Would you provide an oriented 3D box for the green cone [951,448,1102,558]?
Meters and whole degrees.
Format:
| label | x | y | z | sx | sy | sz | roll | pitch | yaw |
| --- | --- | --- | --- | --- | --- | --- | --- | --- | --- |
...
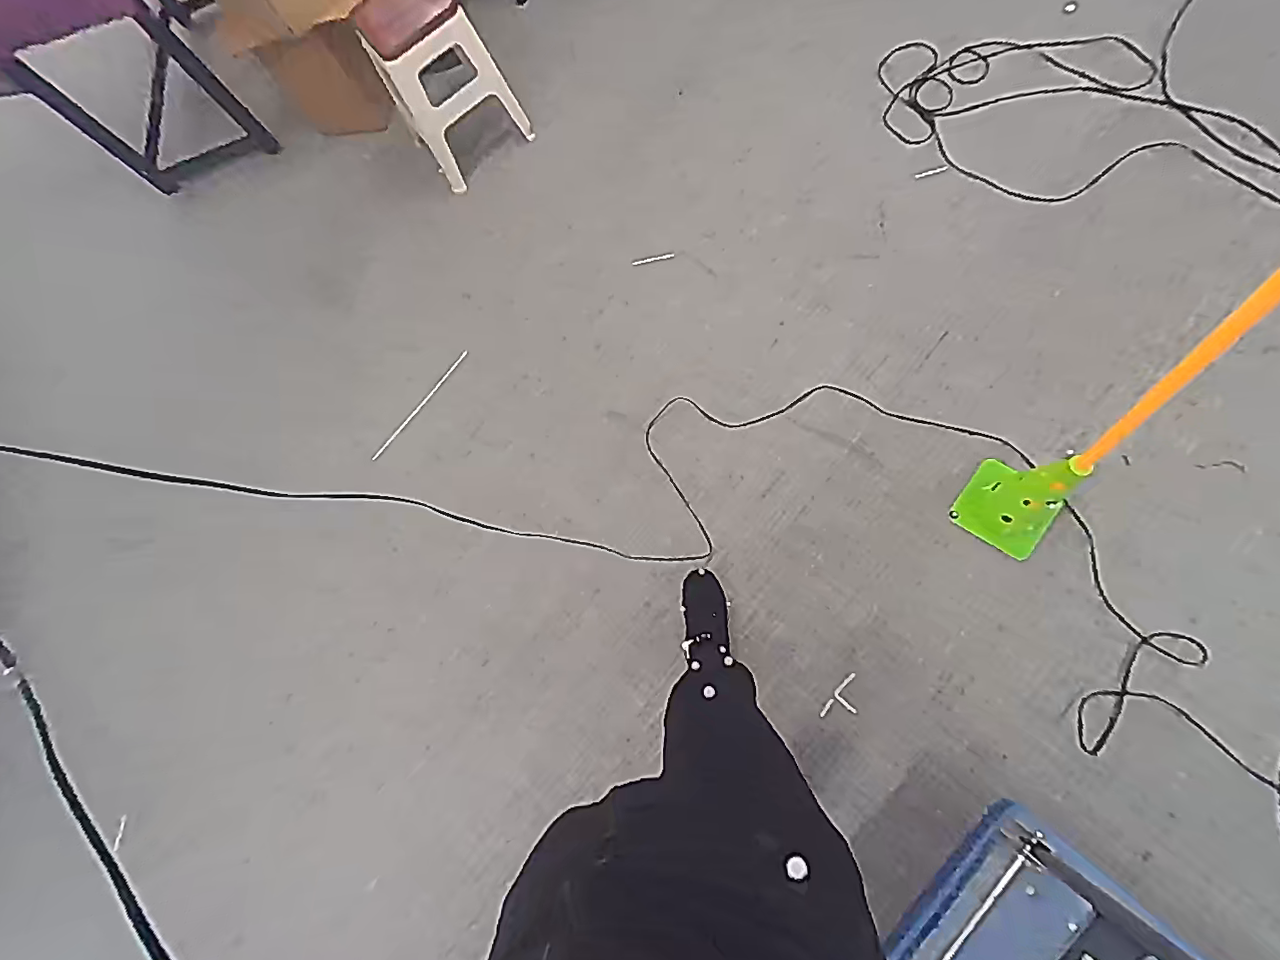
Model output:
| label | x | y | z | sx | sy | sz | roll | pitch | yaw |
| --- | --- | --- | --- | --- | --- | --- | --- | --- | --- |
| green cone | 0.875 | 0.016 | 1.174 | 0.200 | 0.368 | 0.202 | 35 | 82 | 19 |
